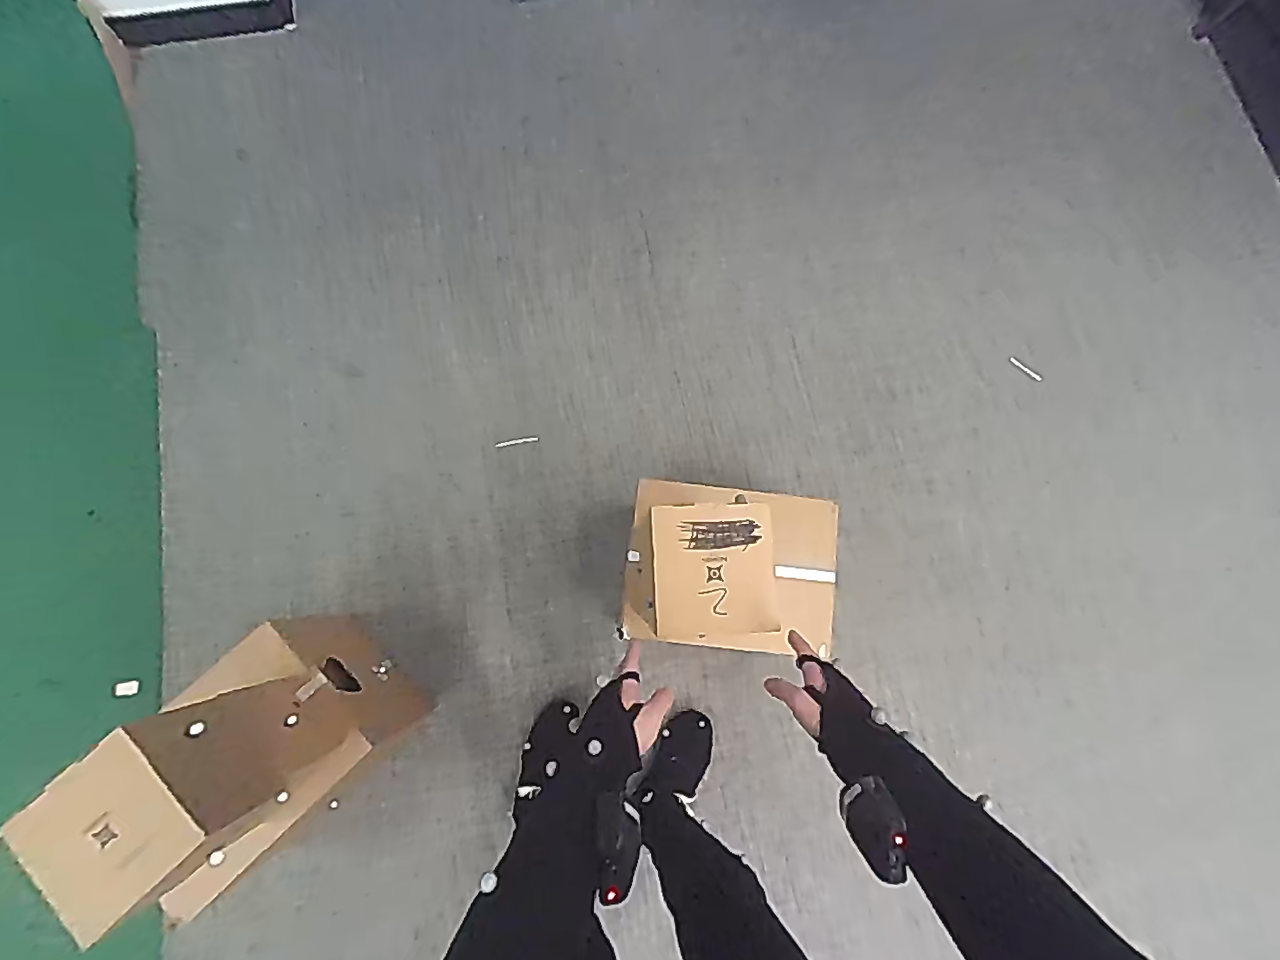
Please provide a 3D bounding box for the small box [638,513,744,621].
[{"bbox_3d":[0.083,0.153,0.959,0.168,0.176,0.179,0,79,-3],"label":"small box"}]

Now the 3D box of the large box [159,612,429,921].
[{"bbox_3d":[-0.721,0.523,1.094,0.408,0.320,0.320,-44,82,-10],"label":"large box"}]

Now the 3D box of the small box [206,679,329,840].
[{"bbox_3d":[-0.637,0.444,0.862,0.179,0.176,0.168,-44,83,-10],"label":"small box"}]

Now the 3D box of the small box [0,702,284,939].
[{"bbox_3d":[-0.622,0.414,0.702,0.168,0.176,0.179,-42,84,-9],"label":"small box"}]
